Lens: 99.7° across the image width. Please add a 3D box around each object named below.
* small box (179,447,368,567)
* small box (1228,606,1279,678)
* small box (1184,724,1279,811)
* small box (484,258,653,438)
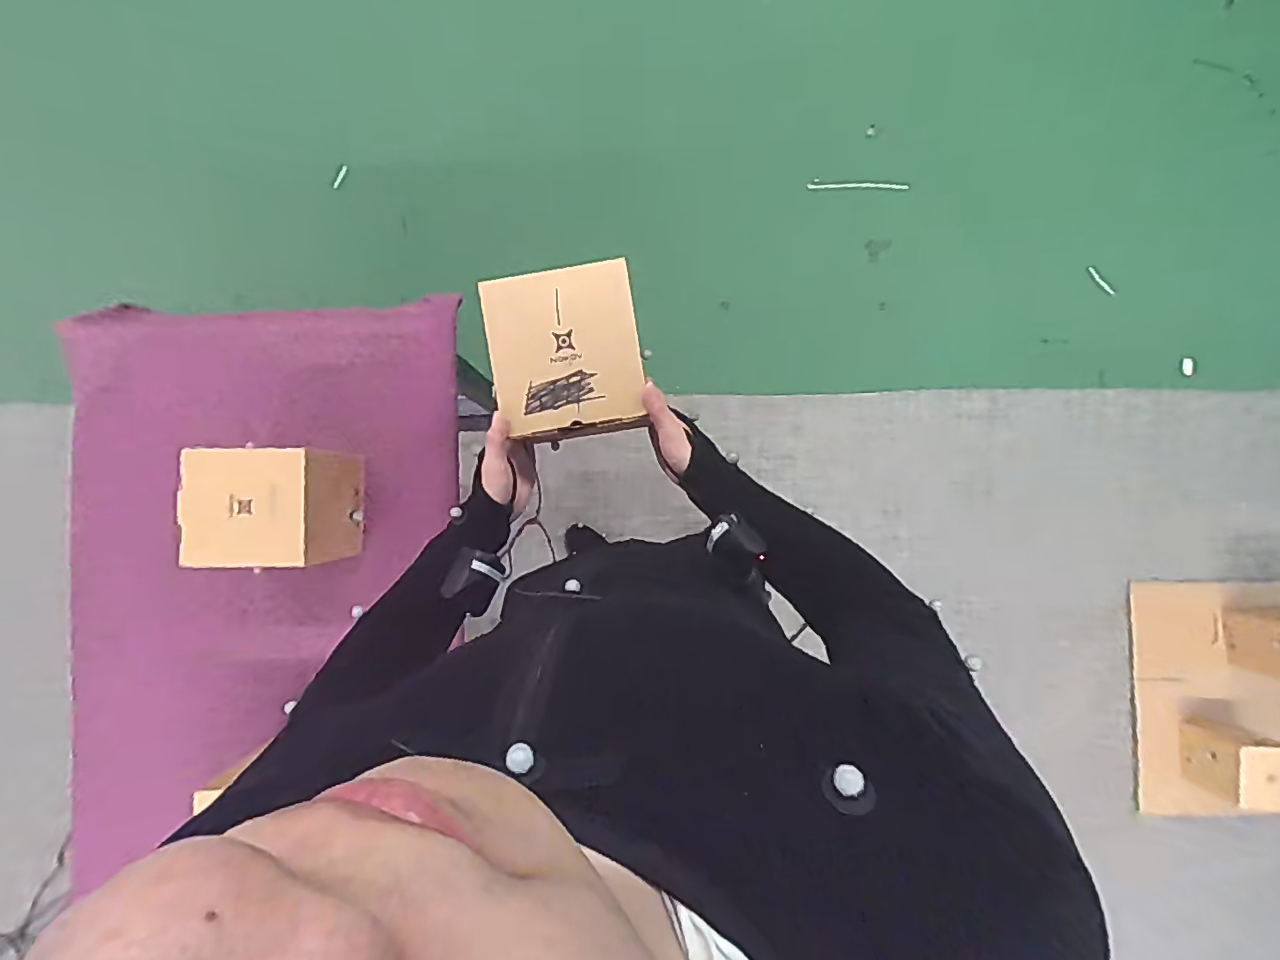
[{"bbox_3d":[-0.546,0.040,0.824,0.179,0.176,0.168,0,89,0],"label":"small box"},{"bbox_3d":[1.859,0.463,1.542,0.179,0.176,0.168,-7,88,-1],"label":"small box"},{"bbox_3d":[1.699,0.804,1.525,0.179,0.176,0.168,3,87,-2],"label":"small box"},{"bbox_3d":[-0.075,-0.146,0.663,0.168,0.176,0.179,-8,91,1],"label":"small box"}]
